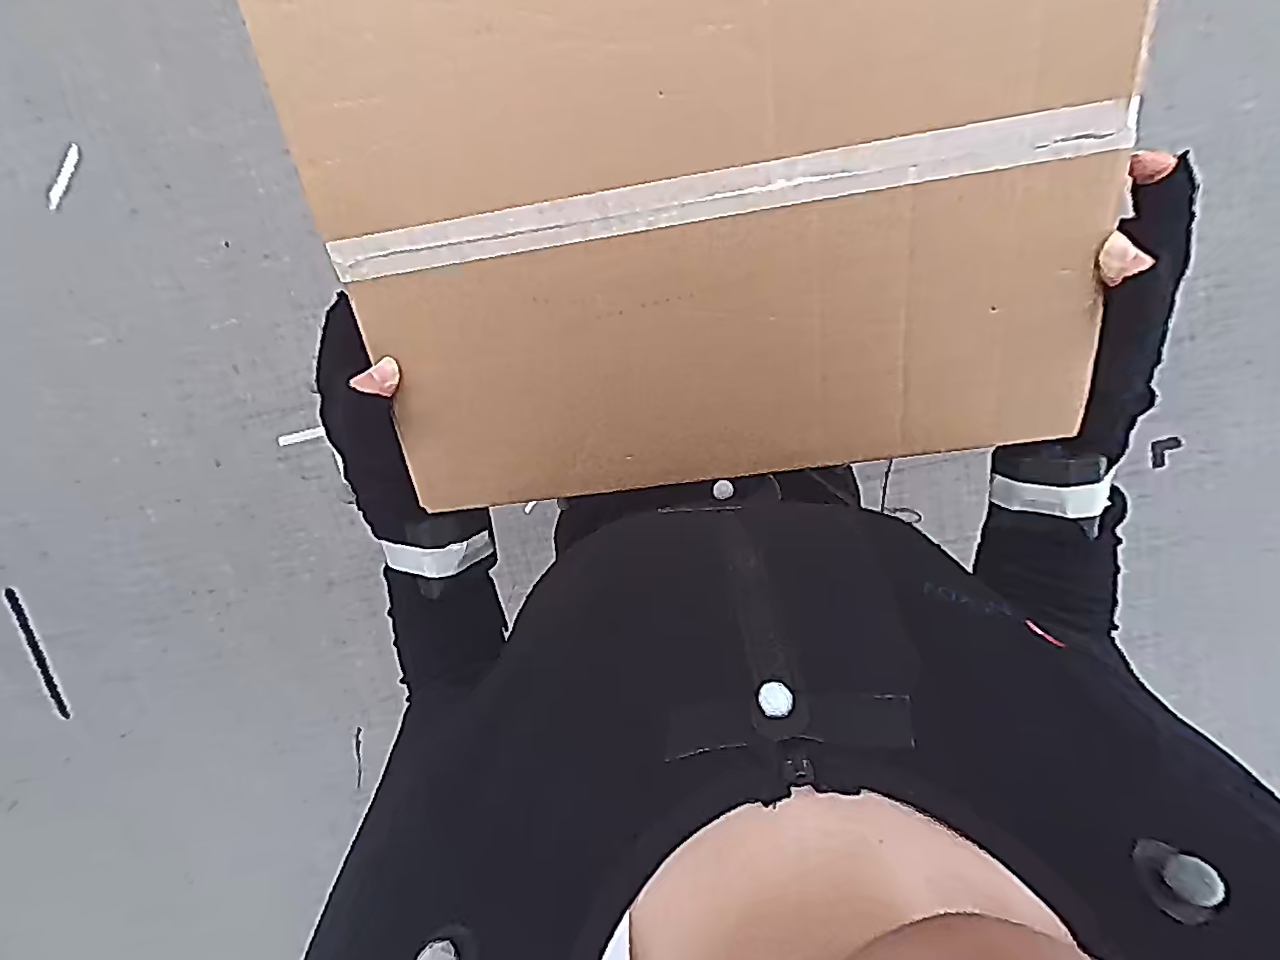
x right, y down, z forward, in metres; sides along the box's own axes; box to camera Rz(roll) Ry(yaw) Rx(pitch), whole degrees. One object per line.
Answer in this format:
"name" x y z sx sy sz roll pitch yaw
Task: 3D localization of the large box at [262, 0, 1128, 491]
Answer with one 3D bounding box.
"large box" 0.036 -0.215 0.419 0.408 0.320 0.320 -7 114 5
